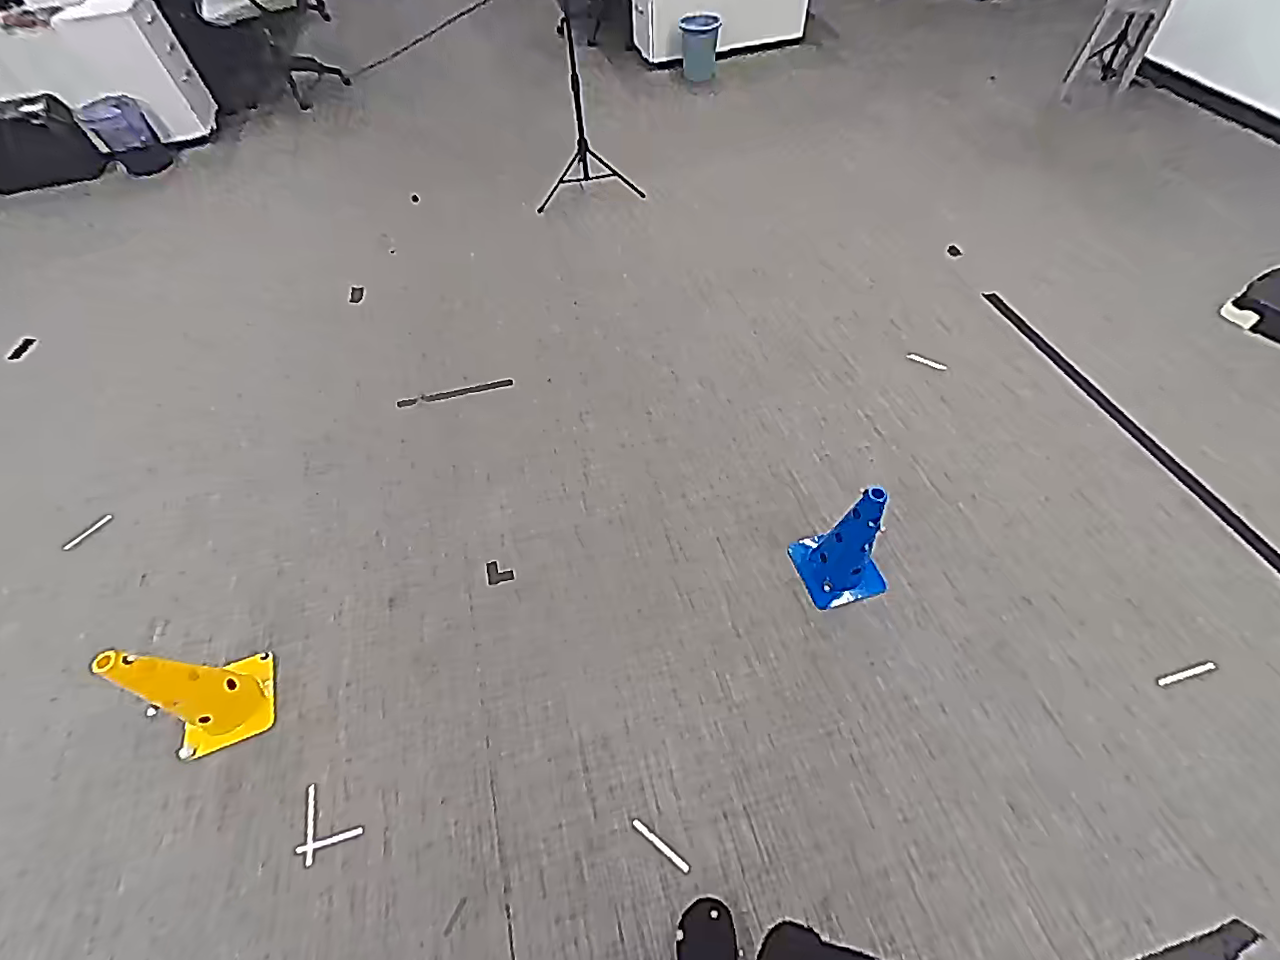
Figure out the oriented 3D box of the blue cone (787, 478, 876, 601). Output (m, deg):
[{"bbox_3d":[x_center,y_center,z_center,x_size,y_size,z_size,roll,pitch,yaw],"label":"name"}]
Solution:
[{"bbox_3d":[0.500,0.126,1.303,0.193,0.380,0.192,-14,54,-6],"label":"blue cone"}]
